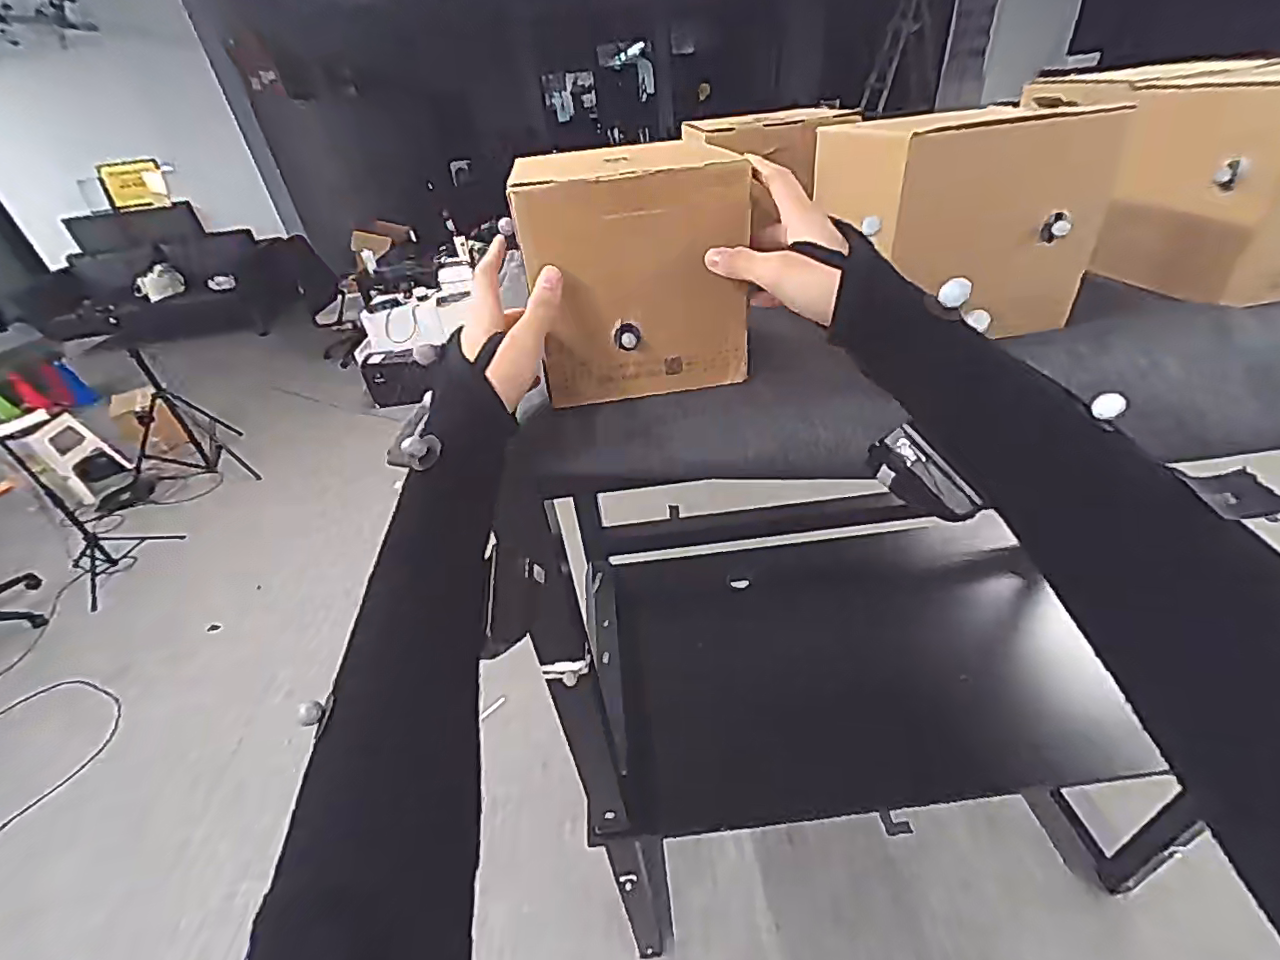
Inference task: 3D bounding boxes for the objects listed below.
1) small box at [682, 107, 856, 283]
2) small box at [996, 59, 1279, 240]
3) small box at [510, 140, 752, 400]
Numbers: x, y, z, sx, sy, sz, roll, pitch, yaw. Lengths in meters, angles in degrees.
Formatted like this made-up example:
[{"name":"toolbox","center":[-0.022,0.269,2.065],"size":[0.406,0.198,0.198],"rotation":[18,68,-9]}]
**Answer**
[{"name":"small box","center":[0.148,-0.350,0.671],"size":[0.168,0.176,0.179],"rotation":[-7,35,-1]},{"name":"small box","center":[0.591,-0.410,0.679],"size":[0.168,0.176,0.179],"rotation":[-7,35,1]},{"name":"small box","center":[-0.010,-0.187,0.472],"size":[0.168,0.176,0.179],"rotation":[-9,36,-4]}]
